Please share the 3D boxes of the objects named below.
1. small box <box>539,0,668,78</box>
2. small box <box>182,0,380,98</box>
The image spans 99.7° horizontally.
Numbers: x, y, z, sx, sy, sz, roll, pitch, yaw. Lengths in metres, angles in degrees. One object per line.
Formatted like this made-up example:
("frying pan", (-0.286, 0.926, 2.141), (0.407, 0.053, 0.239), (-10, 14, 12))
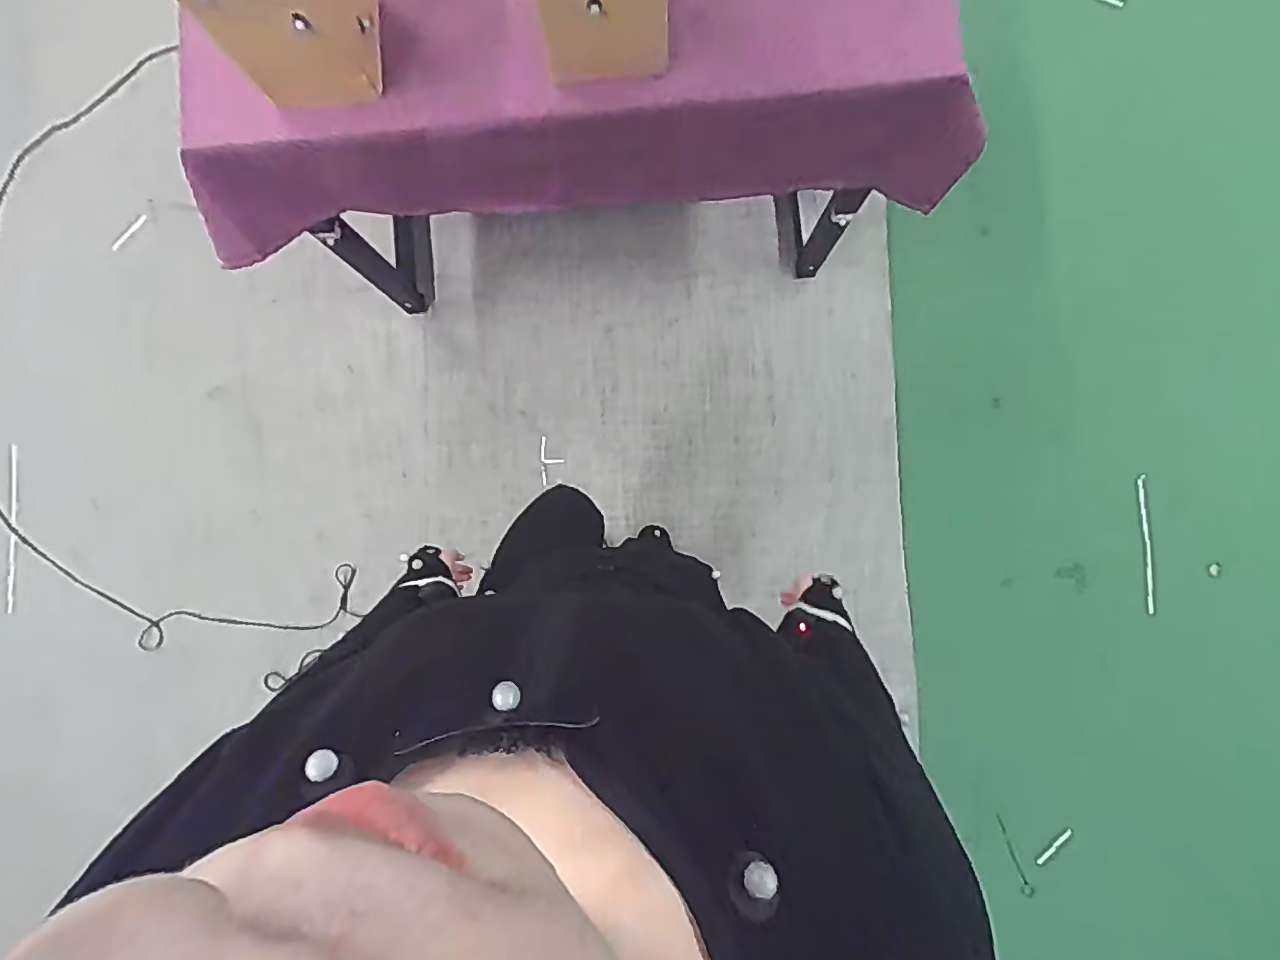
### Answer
("small box", (-0.050, -0.698, 0.750), (0.179, 0.176, 0.168), (-2, 87, 1))
("small box", (-0.490, -0.673, 0.756), (0.179, 0.176, 0.168), (-4, 86, -1))
